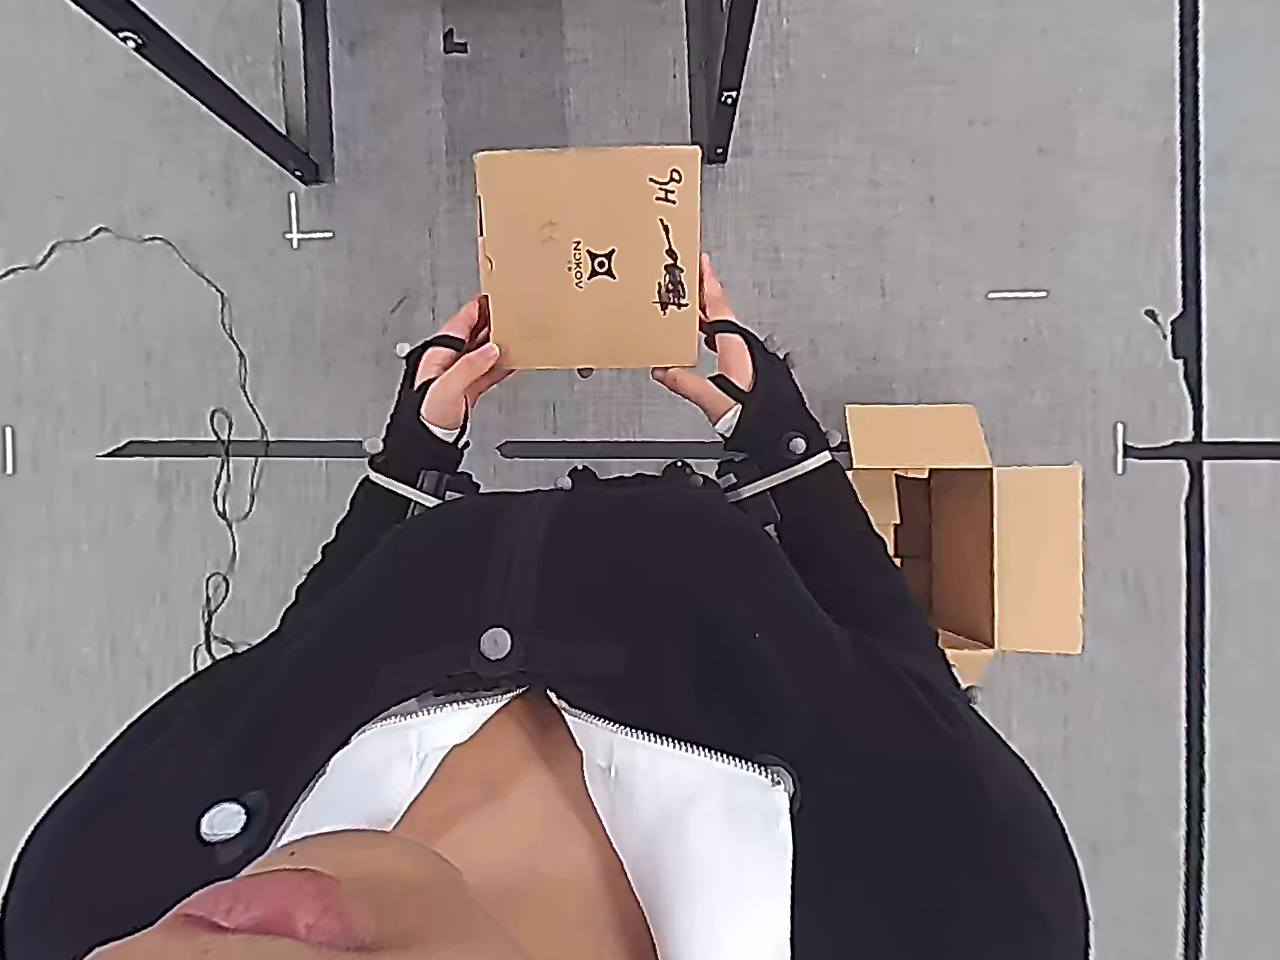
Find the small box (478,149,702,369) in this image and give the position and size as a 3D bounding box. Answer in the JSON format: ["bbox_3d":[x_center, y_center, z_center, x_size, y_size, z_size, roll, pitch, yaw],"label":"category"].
[{"bbox_3d":[-0.036,-0.192,0.509,0.179,0.176,0.168,0,105,2],"label":"small box"}]
